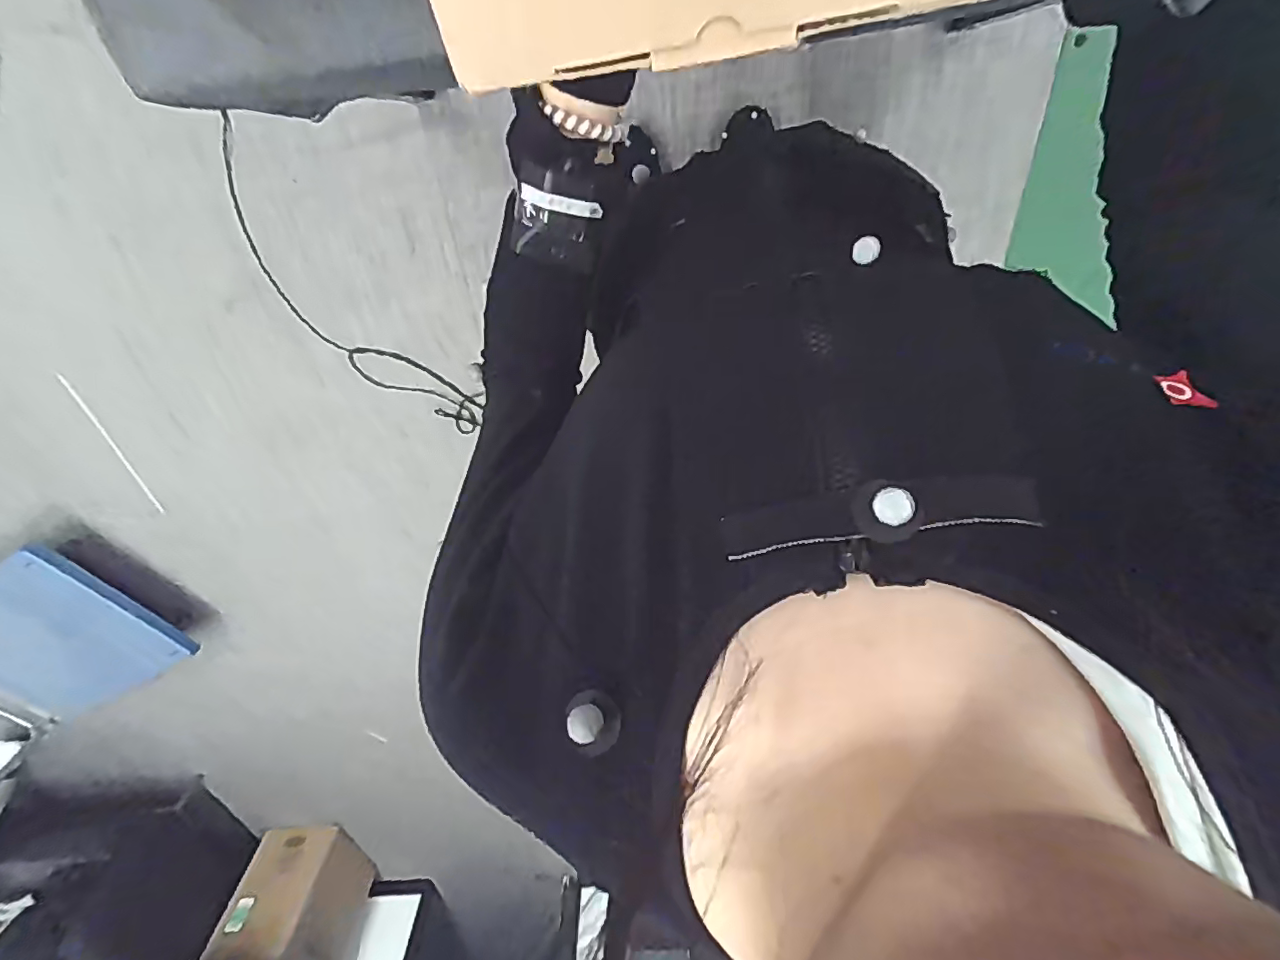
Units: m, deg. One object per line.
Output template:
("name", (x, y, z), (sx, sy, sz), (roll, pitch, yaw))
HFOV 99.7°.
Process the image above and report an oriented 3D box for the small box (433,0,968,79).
("small box", (0.012, -0.249, 0.153), (0.168, 0.176, 0.179), (-6, 137, 5))
